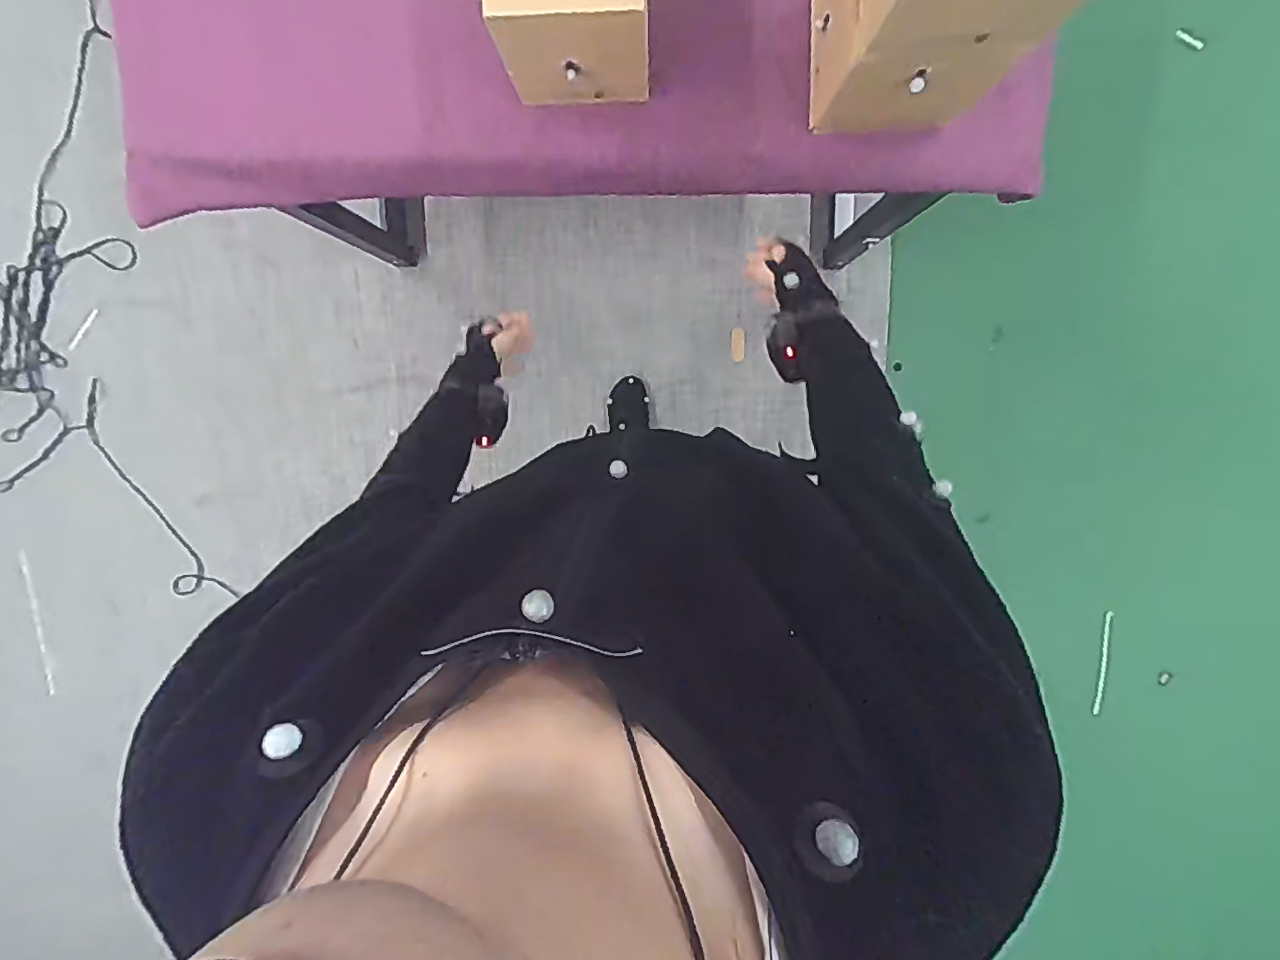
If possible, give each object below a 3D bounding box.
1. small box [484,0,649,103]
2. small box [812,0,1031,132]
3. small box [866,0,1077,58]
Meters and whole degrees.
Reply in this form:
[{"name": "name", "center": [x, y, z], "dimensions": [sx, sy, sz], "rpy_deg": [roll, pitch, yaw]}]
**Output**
[{"name": "small box", "center": [-0.074, -0.562, 0.618], "dimensions": [0.168, 0.176, 0.179], "rpy_deg": [0, 98, 2]}, {"name": "small box", "center": [0.304, -0.519, 0.606], "dimensions": [0.179, 0.176, 0.168], "rpy_deg": [-1, 99, 5]}, {"name": "small box", "center": [0.297, -0.496, 0.443], "dimensions": [0.168, 0.176, 0.179], "rpy_deg": [-1, 99, 5]}]
